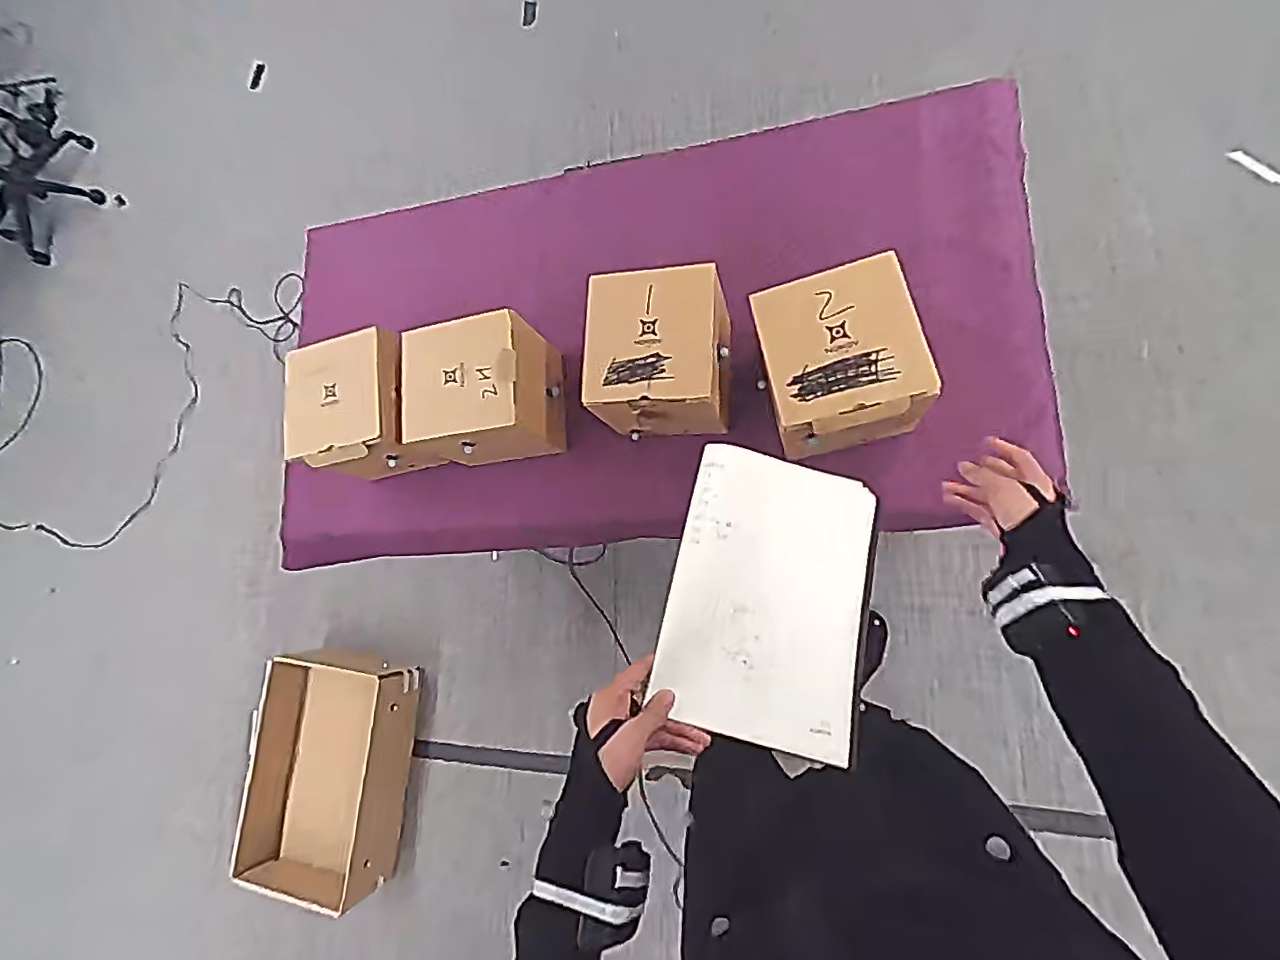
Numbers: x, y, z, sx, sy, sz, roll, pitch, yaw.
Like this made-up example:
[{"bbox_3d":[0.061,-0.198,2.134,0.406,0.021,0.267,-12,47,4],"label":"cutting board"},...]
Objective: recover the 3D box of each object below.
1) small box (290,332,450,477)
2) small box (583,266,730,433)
[{"bbox_3d":[-0.422,-0.107,0.865,0.168,0.176,0.179,-11,77,13],"label":"small box"},{"bbox_3d":[0.032,-0.164,0.744,0.168,0.176,0.179,0,80,16],"label":"small box"}]
